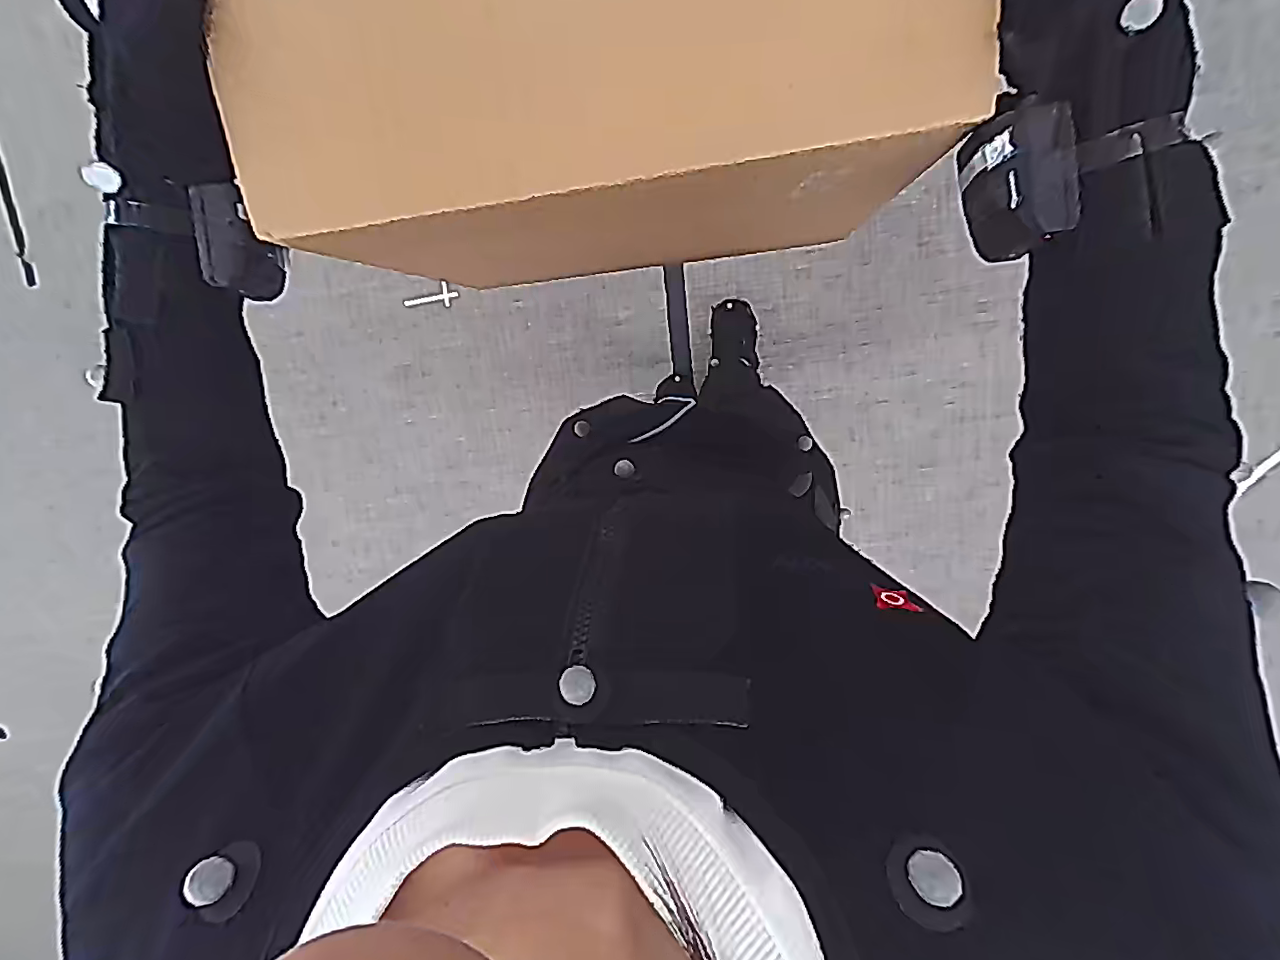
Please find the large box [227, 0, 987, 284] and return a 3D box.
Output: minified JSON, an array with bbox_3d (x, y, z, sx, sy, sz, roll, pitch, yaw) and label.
[{"bbox_3d":[-0.023,-0.355,0.412,0.408,0.320,0.320,-5,104,8],"label":"large box"}]
